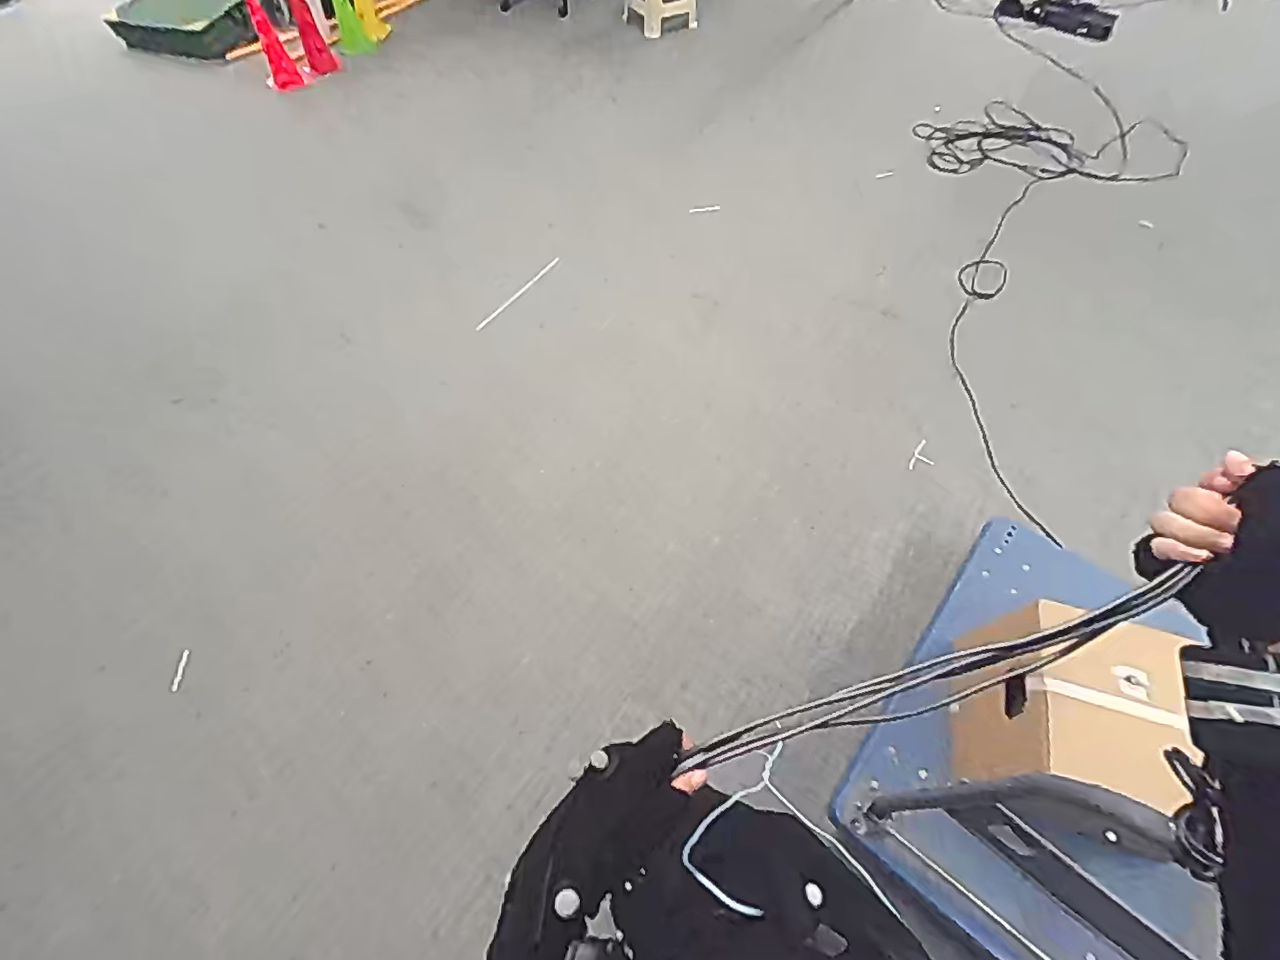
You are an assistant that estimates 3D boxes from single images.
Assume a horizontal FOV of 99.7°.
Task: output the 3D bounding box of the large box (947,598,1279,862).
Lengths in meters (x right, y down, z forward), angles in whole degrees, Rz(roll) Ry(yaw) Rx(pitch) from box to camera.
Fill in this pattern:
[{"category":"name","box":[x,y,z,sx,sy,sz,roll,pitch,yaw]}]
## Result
[{"category":"large box","box":[0.859,0.462,1.010,0.408,0.320,0.320,15,61,10]}]
